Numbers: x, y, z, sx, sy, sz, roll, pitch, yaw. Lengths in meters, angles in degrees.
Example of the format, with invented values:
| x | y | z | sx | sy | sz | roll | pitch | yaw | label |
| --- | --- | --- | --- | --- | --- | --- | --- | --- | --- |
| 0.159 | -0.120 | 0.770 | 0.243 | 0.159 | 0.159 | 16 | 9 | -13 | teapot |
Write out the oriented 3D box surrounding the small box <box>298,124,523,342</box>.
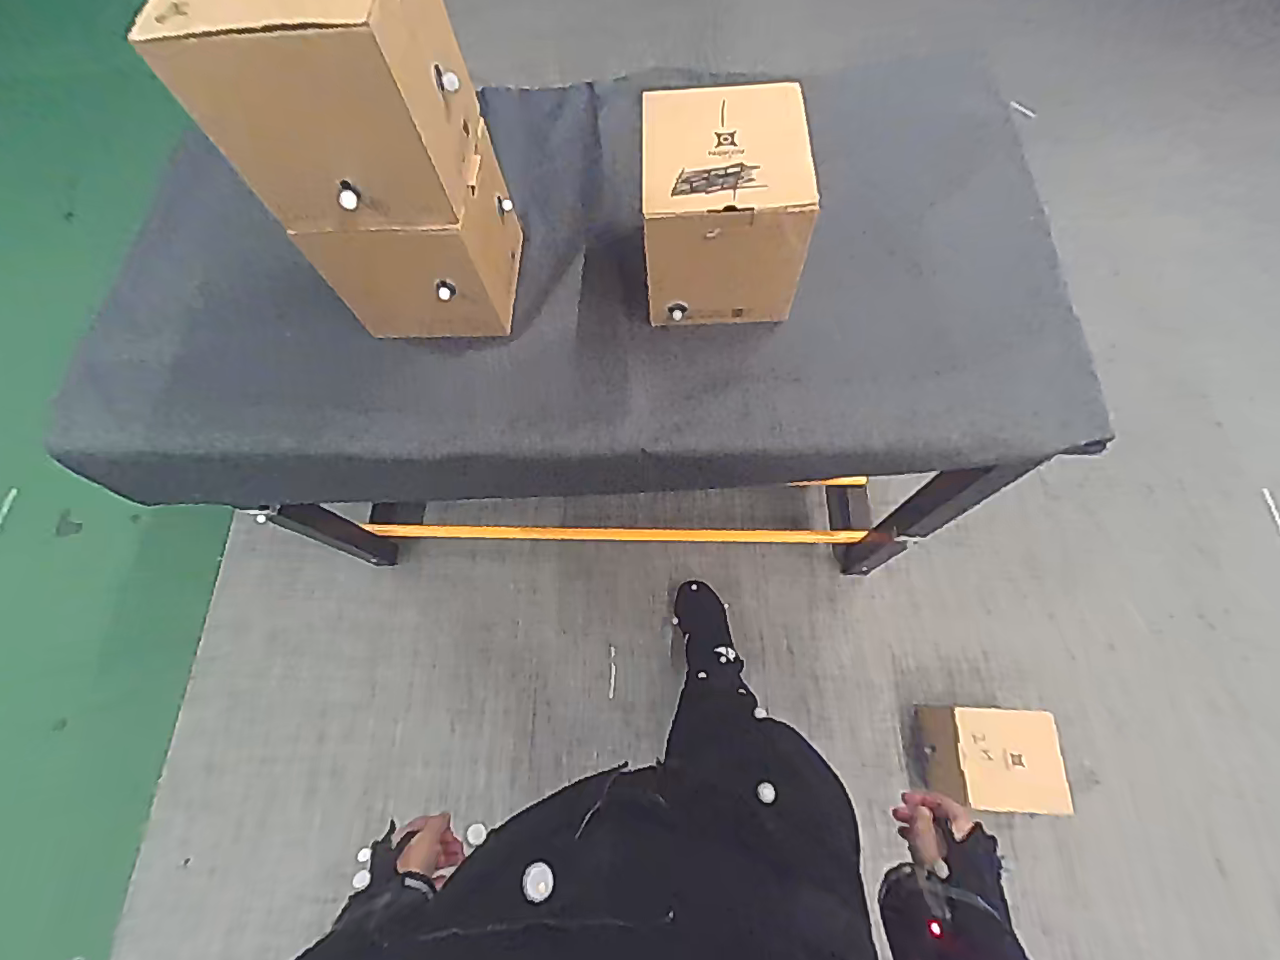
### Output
| x | y | z | sx | sy | sz | roll | pitch | yaw | label |
| --- | --- | --- | --- | --- | --- | --- | --- | --- | --- |
| -0.245 | -0.277 | 0.631 | 0.179 | 0.176 | 0.168 | -1 | 67 | 4 | small box |

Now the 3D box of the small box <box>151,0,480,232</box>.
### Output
| x | y | z | sx | sy | sz | roll | pitch | yaw | label |
| --- | --- | --- | --- | --- | --- | --- | --- | --- | --- |
| -0.257 | -0.346 | 0.483 | 0.179 | 0.176 | 0.168 | -1 | 67 | 3 | small box |

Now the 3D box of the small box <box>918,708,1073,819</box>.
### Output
| x | y | z | sx | sy | sz | roll | pitch | yaw | label |
| --- | --- | --- | --- | --- | --- | --- | --- | --- | --- |
| 0.661 | 0.529 | 1.028 | 0.179 | 0.176 | 0.168 | 1 | 67 | 4 | small box |

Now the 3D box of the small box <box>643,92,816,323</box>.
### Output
| x | y | z | sx | sy | sz | roll | pitch | yaw | label |
| --- | --- | --- | --- | --- | --- | --- | --- | --- | --- |
| 0.091 | -0.295 | 0.615 | 0.168 | 0.176 | 0.179 | -1 | 67 | 3 | small box |
